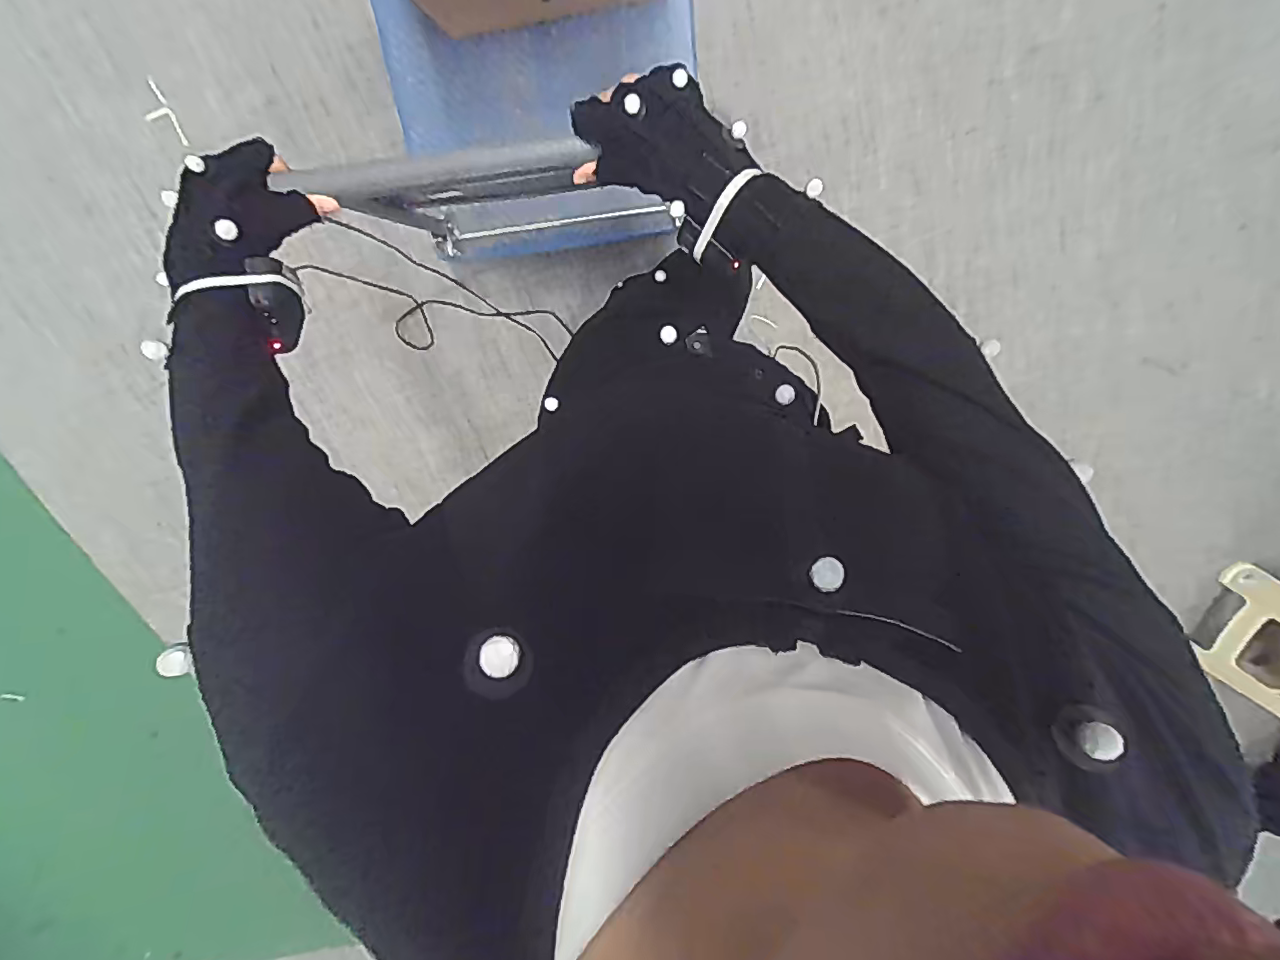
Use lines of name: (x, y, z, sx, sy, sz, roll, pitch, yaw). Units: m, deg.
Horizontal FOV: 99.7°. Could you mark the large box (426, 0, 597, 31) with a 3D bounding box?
large box: (-0.169, -0.924, 0.783, 0.408, 0.320, 0.320, -8, 113, 5)
